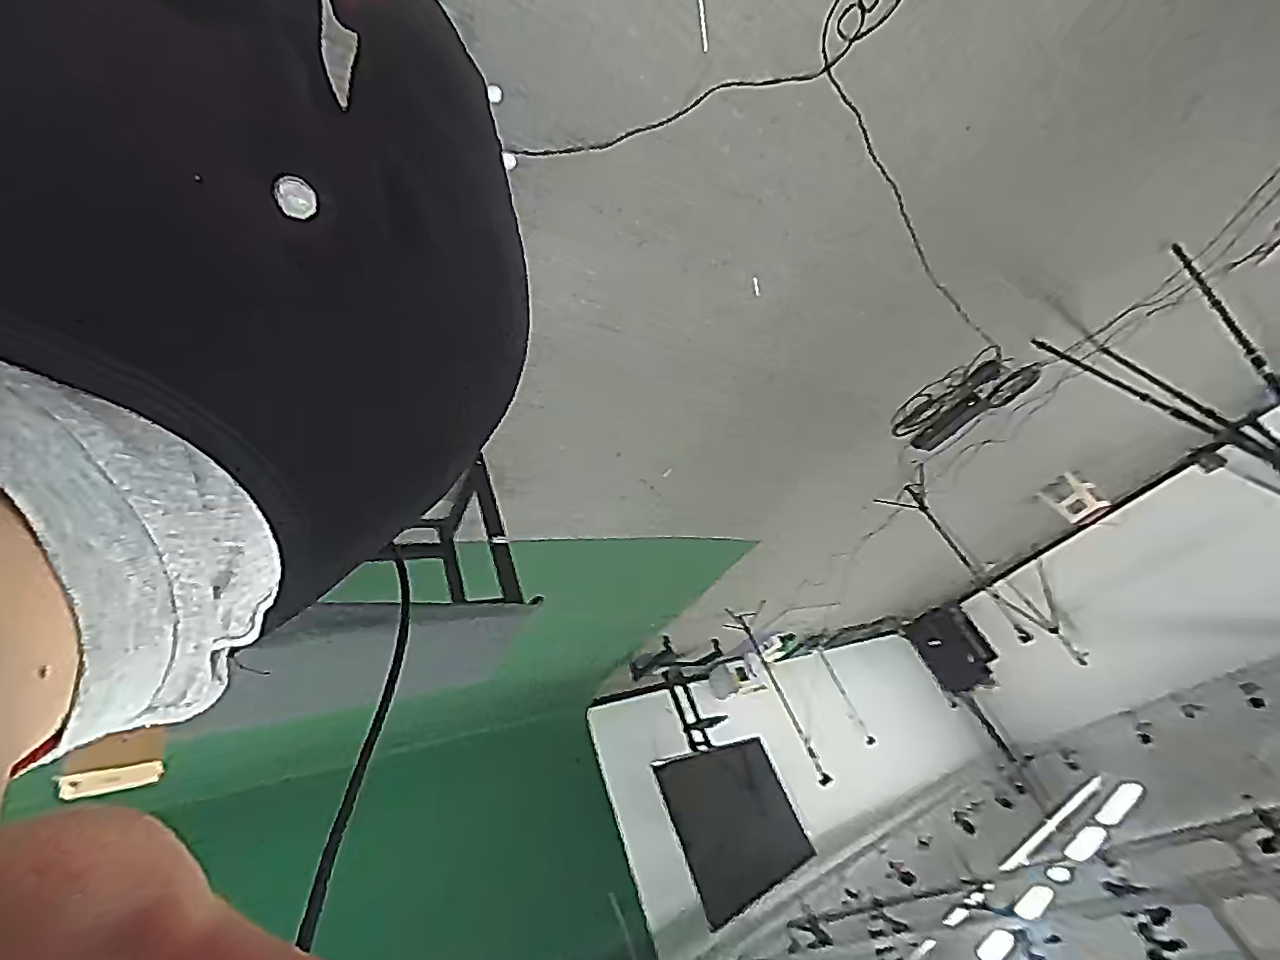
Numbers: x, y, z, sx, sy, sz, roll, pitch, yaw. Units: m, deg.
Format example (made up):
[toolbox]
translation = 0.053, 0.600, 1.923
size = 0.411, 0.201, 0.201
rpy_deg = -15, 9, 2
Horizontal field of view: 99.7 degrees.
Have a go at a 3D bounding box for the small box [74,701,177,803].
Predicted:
[small box]
translation = -1.292, 0.677, 1.364
size = 0.179, 0.176, 0.168
rpy_deg = 7, 135, -42
